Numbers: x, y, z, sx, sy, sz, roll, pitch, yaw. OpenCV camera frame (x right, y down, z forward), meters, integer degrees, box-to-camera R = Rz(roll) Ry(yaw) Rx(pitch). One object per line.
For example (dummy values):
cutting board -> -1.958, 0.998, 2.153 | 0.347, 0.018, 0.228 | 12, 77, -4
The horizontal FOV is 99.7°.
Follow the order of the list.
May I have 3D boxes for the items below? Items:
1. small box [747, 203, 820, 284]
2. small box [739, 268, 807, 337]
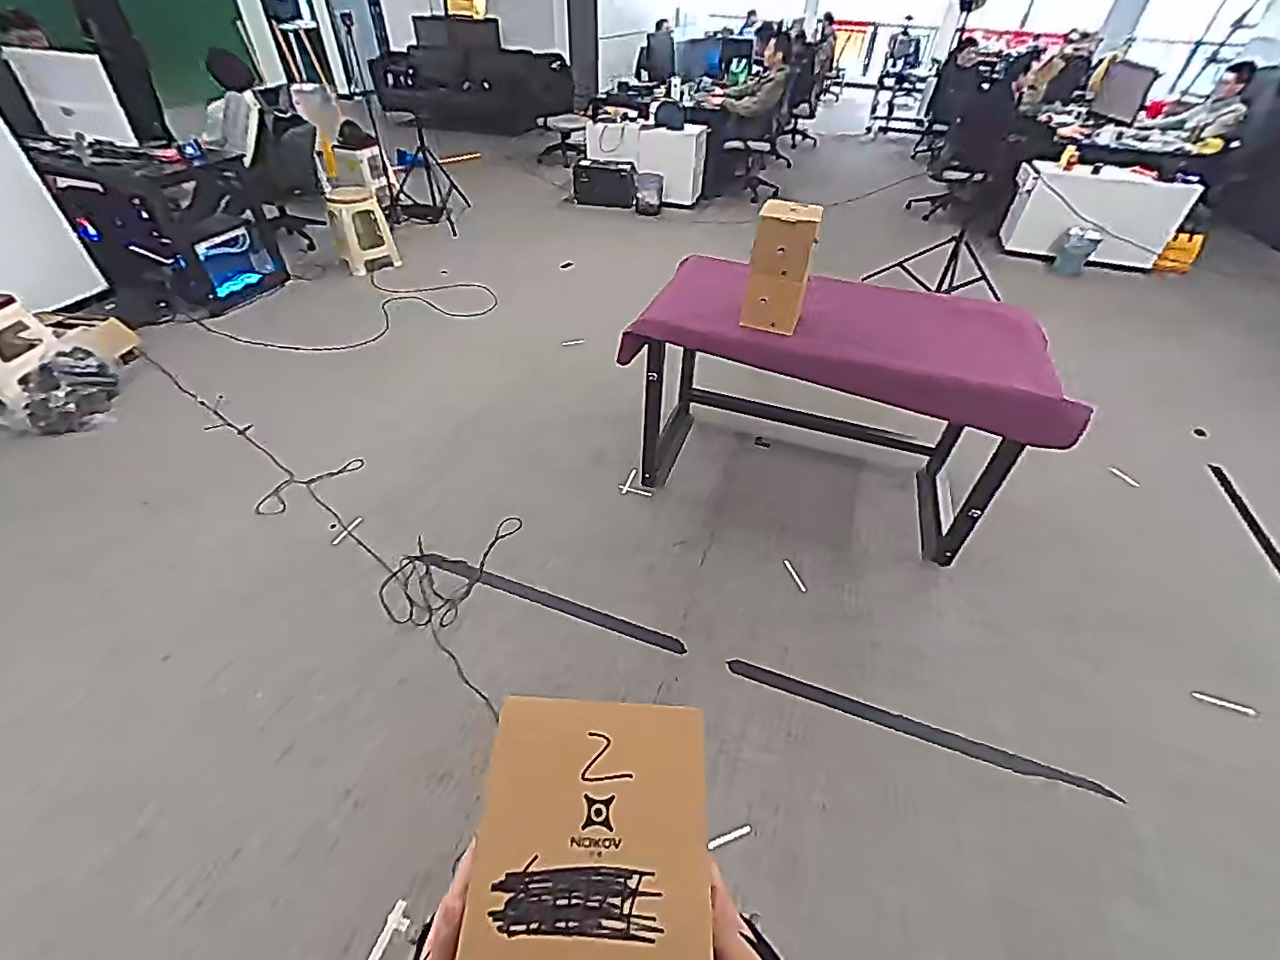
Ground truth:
small box -> 0.420, -0.696, 1.597 | 0.168, 0.176, 0.179 | 15, 43, 13
small box -> 0.415, -0.571, 1.703 | 0.168, 0.176, 0.179 | 16, 43, 14
